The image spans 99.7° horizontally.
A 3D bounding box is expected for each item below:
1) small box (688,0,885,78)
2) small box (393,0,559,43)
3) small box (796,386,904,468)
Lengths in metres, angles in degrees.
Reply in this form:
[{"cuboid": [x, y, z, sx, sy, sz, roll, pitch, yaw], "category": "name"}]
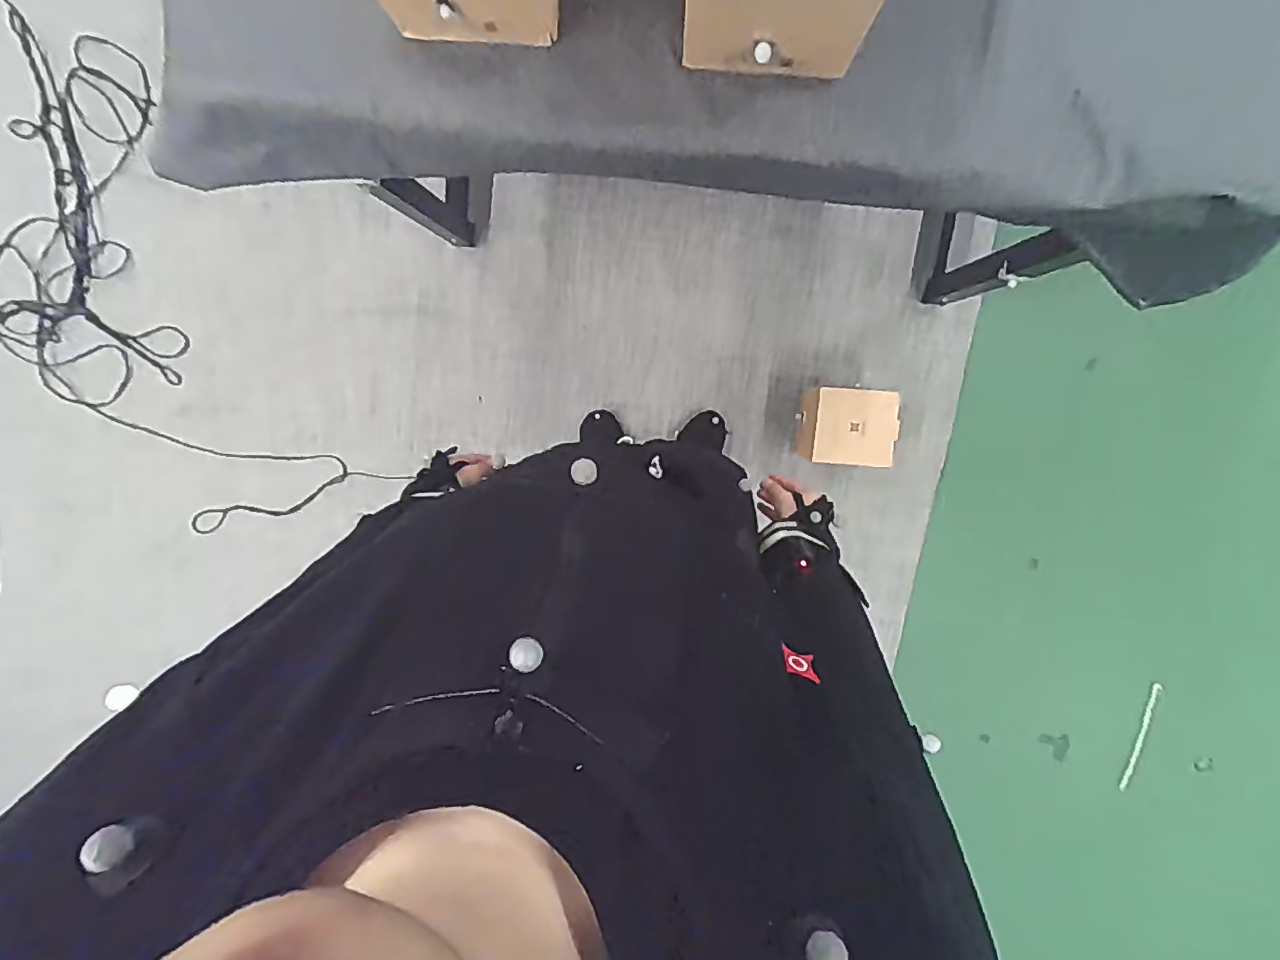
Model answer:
[{"cuboid": [0.132, -0.491, 0.459, 0.168, 0.176, 0.179, 6, 100, 3], "category": "small box"}, {"cuboid": [-0.164, -0.535, 0.472, 0.168, 0.176, 0.179, 5, 100, 2], "category": "small box"}, {"cuboid": [0.473, -0.126, 1.242, 0.179, 0.176, 0.168, 5, 99, 3], "category": "small box"}]
